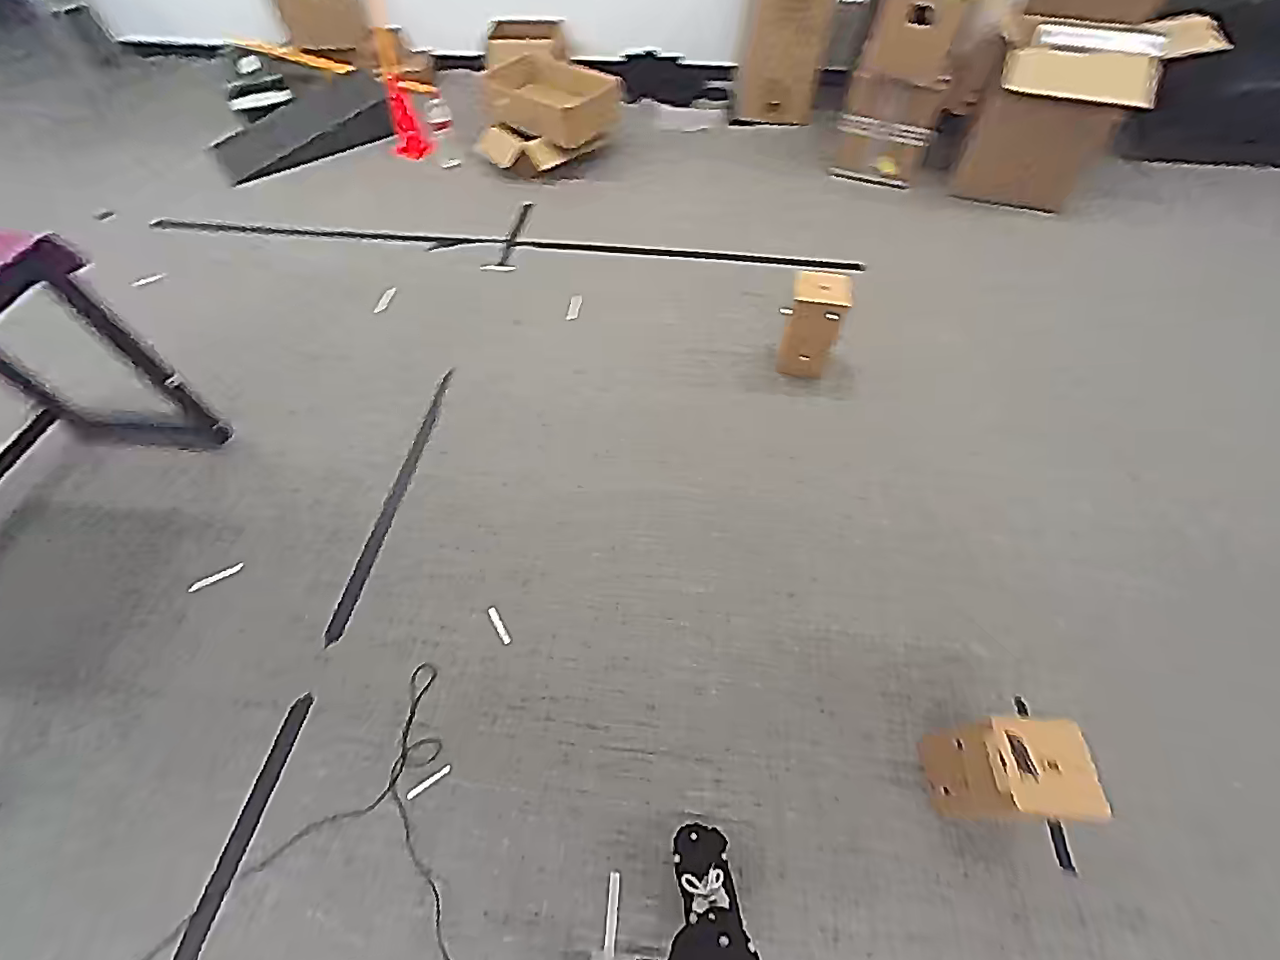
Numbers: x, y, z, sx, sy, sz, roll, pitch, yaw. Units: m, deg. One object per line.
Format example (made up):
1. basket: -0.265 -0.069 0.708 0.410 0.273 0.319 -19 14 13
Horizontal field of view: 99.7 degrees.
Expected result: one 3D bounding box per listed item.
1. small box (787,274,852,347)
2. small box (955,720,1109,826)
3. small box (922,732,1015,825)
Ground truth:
1. small box: 0.620 -0.583 1.873 0.179 0.176 0.168 9 56 7
2. small box: 0.764 0.591 1.084 0.179 0.176 0.168 3 57 2
3. small box: 0.765 0.678 1.224 0.179 0.176 0.168 3 57 1
